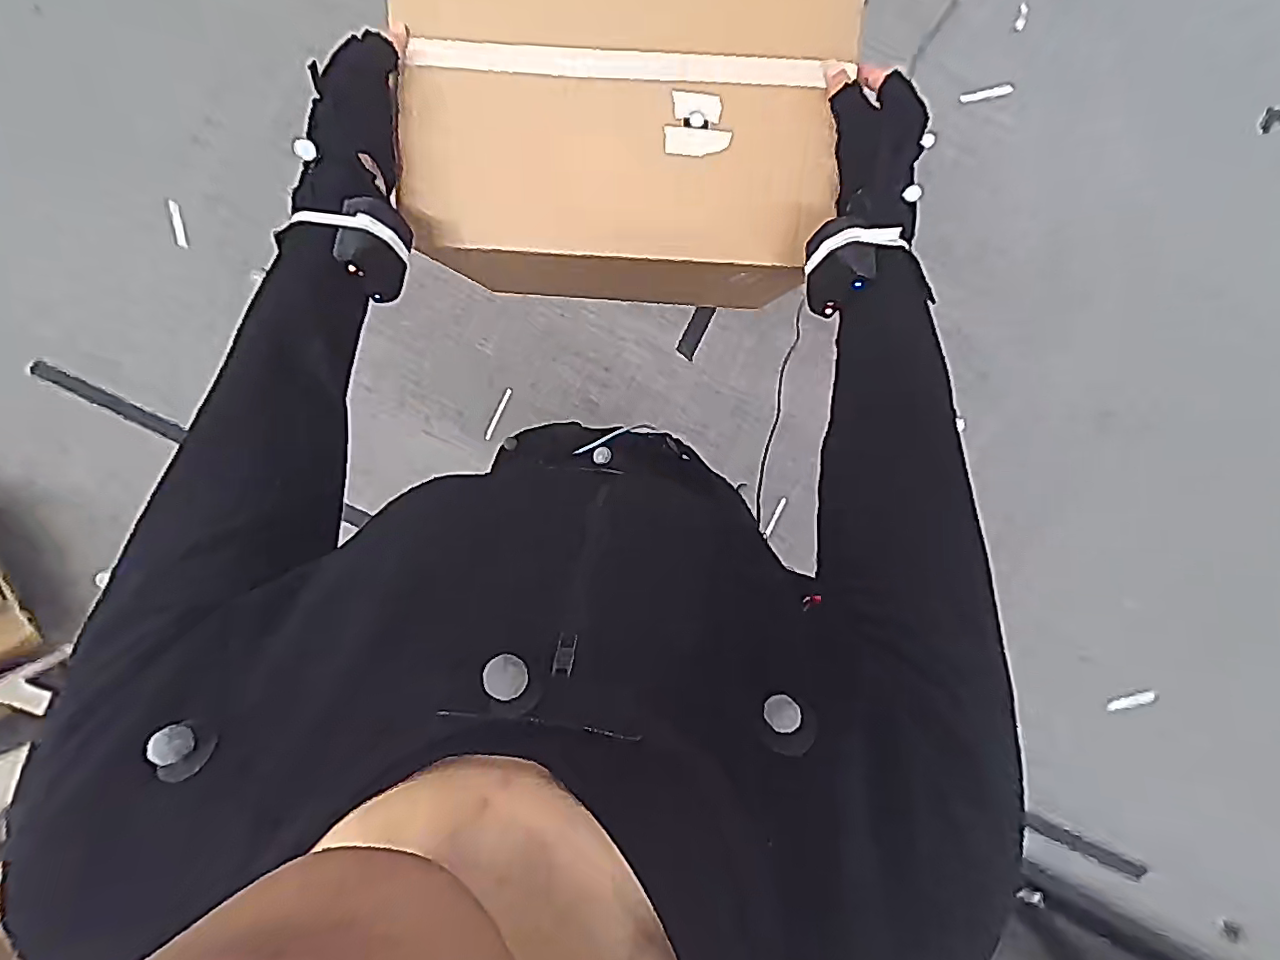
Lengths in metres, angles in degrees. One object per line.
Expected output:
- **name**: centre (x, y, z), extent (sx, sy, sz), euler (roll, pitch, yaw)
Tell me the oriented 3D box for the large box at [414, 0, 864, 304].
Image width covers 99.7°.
- **large box**: centre (-0.007, -0.393, 0.632), extent (0.408, 0.320, 0.320), euler (4, 102, -1)
